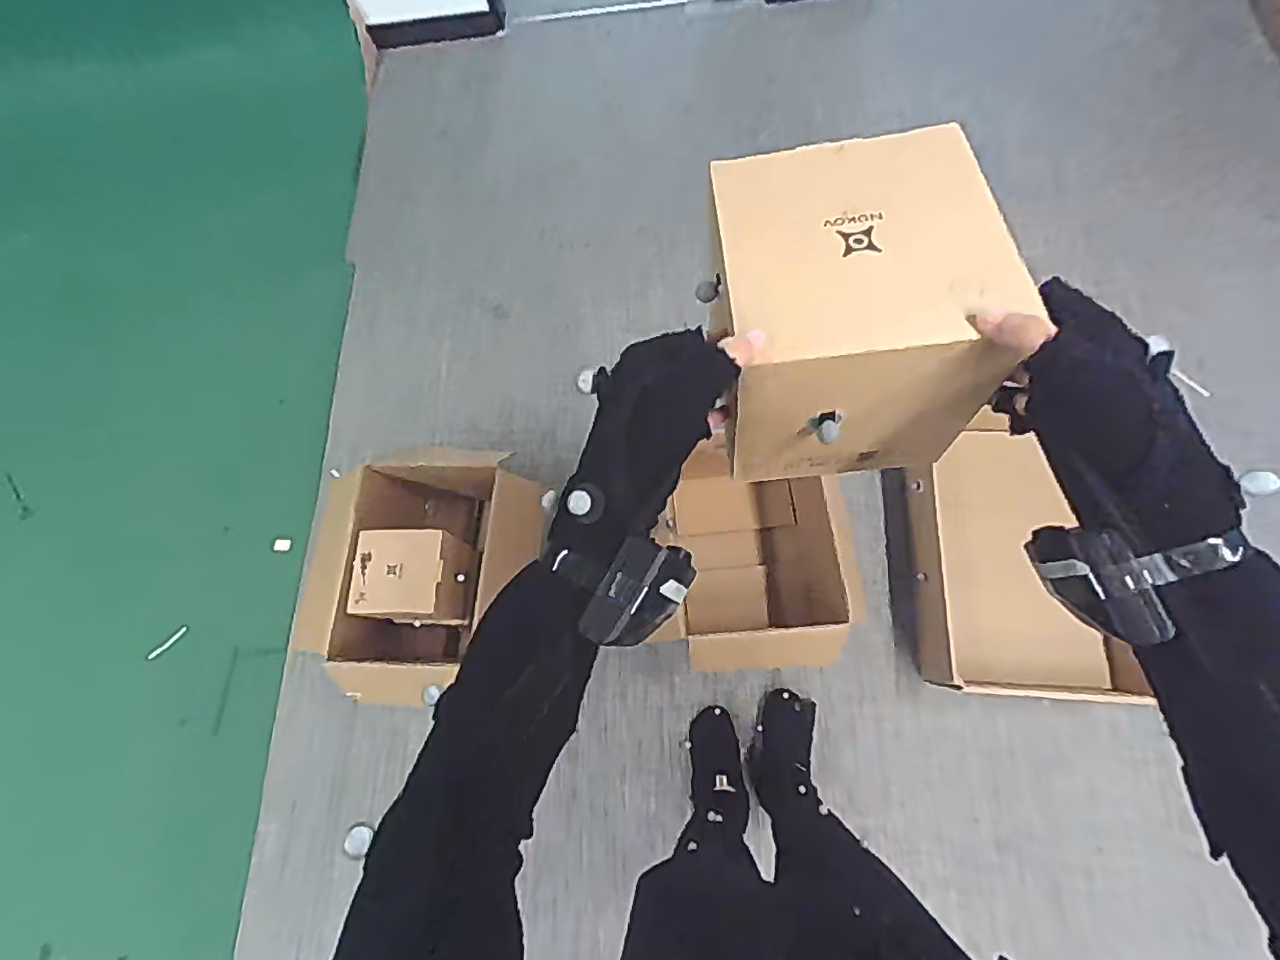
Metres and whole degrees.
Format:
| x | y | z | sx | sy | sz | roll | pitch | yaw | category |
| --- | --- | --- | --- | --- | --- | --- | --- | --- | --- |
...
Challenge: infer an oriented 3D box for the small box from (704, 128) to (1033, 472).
| x | y | z | sx | sy | sz | roll | pitch | yaw | category |
| --- | --- | --- | --- | --- | --- | --- | --- | --- | --- |
| 0.141 | -0.115 | 0.407 | 0.168 | 0.176 | 0.179 | -7 | 66 | 6 | small box |
